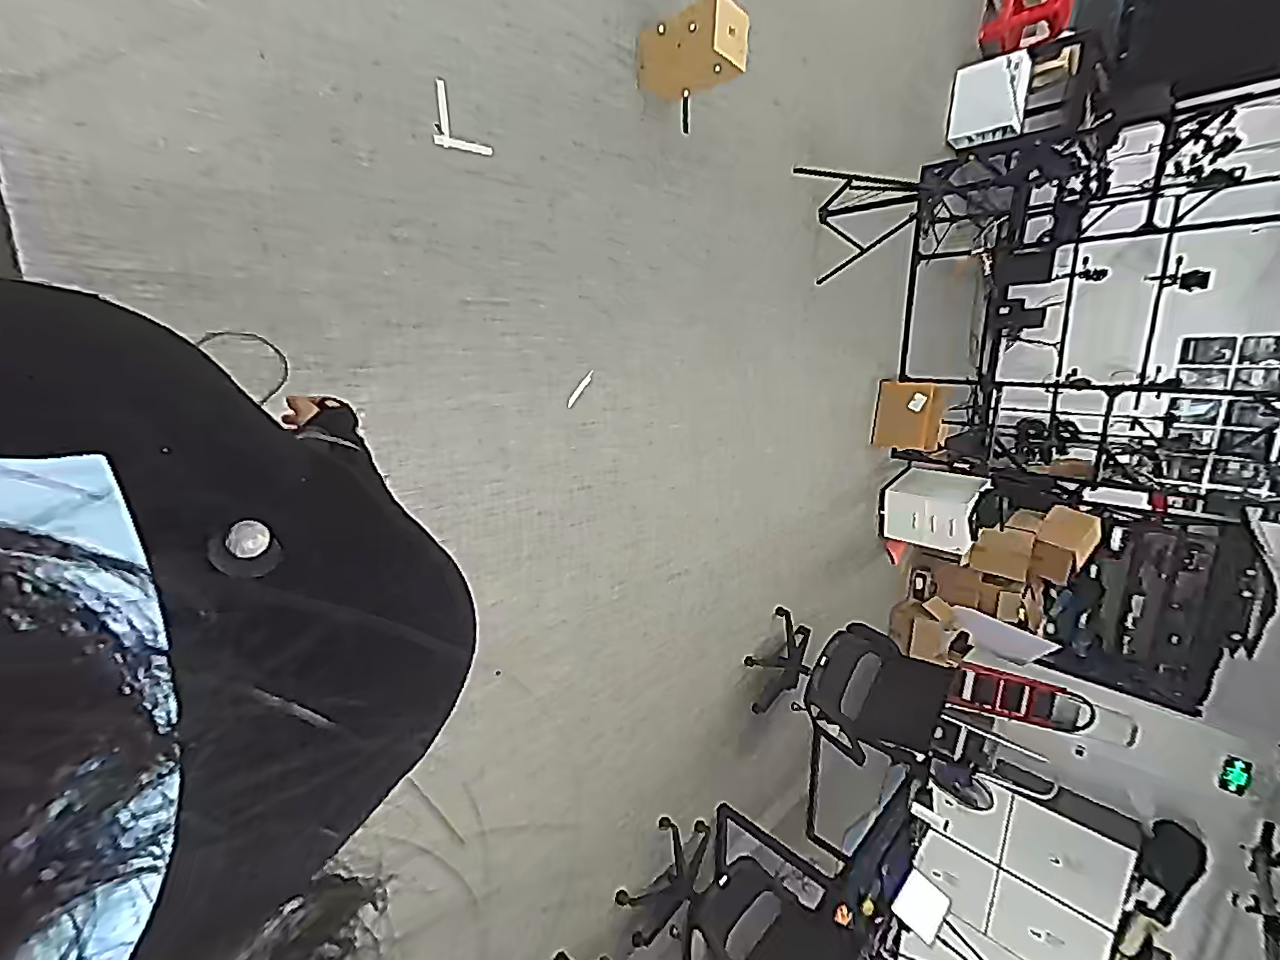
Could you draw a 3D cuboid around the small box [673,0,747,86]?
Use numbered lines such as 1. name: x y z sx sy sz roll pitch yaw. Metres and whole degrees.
1. small box: 0.223 -1.421 1.755 0.179 0.176 0.168 -8 105 -46
